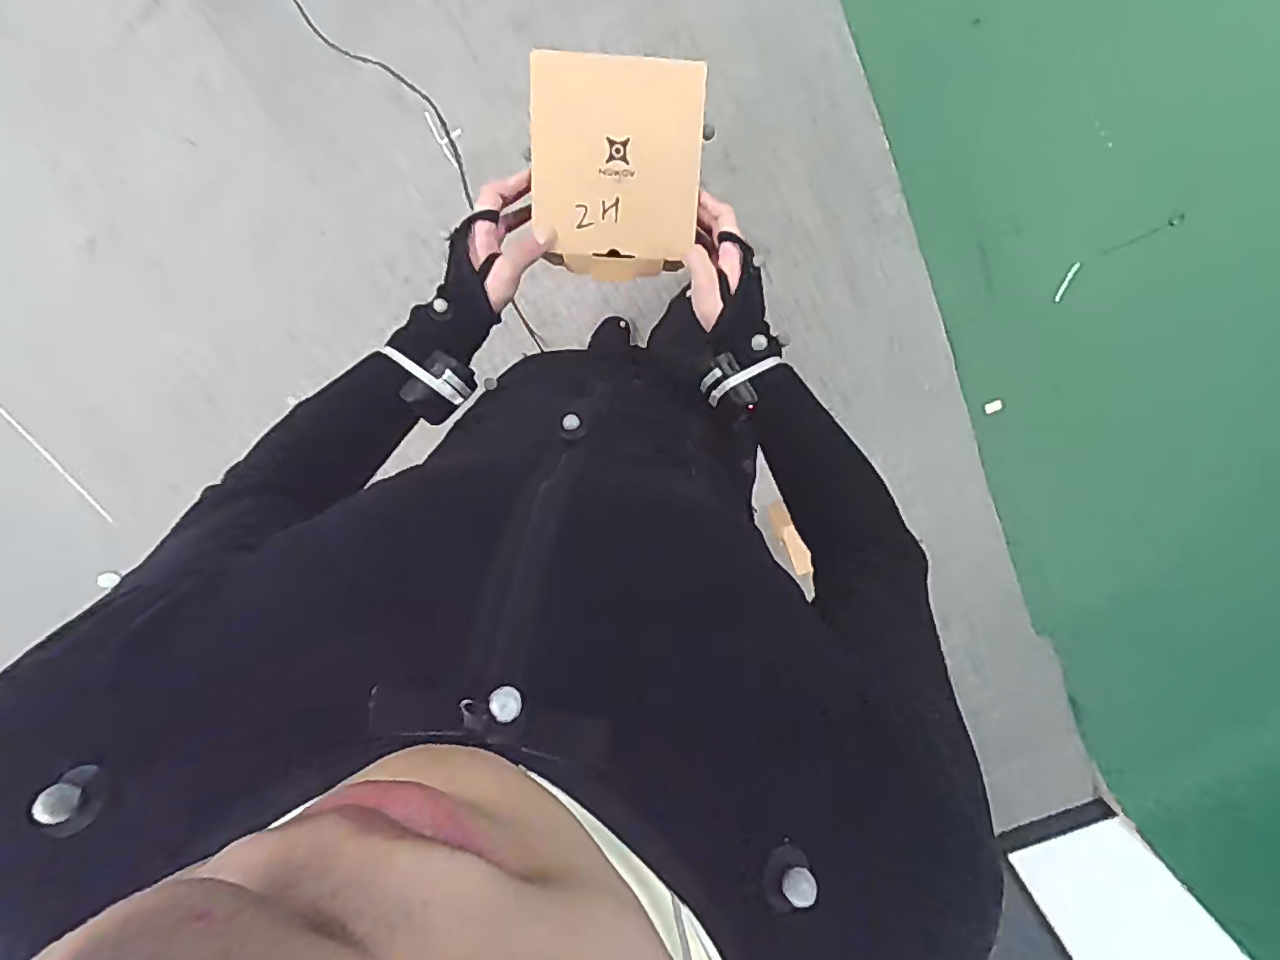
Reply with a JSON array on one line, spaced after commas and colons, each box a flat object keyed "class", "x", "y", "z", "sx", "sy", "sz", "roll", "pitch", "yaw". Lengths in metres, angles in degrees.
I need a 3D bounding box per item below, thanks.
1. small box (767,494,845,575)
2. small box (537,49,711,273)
[{"class": "small box", "x": 0.510, "y": 0.160, "z": 1.683, "sx": 0.168, "sy": 0.176, "sz": 0.179, "roll": -21, "pitch": 111, "yaw": 7}, {"class": "small box", "x": -0.022, "y": -0.335, "z": 0.603, "sx": 0.168, "sy": 0.176, "sz": 0.179, "roll": 2, "pitch": 107, "yaw": -3}]
